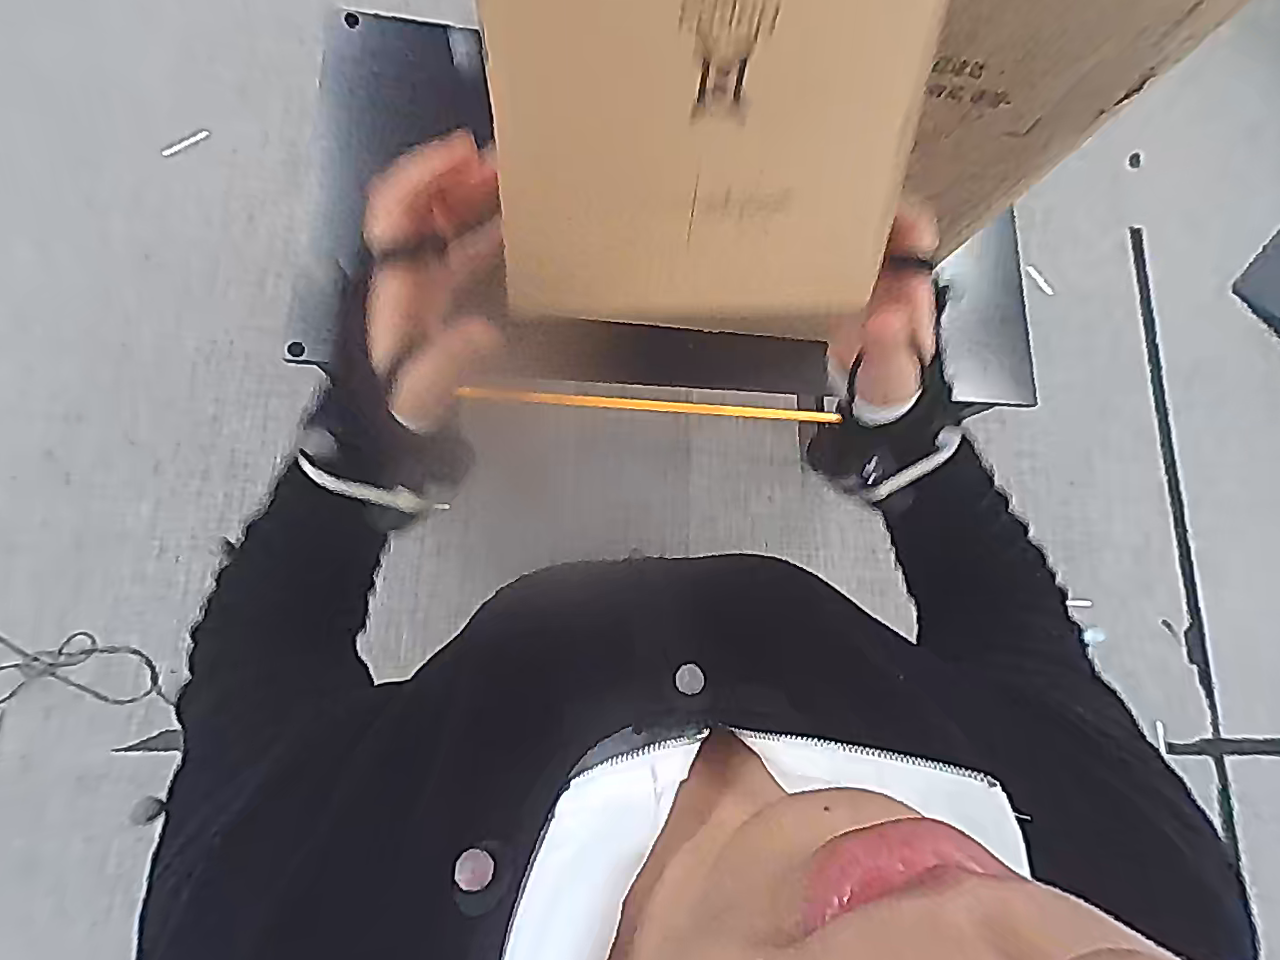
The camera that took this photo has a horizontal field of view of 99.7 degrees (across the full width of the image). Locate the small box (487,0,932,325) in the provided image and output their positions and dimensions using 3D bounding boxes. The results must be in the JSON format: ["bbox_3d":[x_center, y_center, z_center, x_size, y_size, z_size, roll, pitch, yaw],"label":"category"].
[{"bbox_3d":[0.013,-0.188,0.271,0.168,0.176,0.179,-4,122,-8],"label":"small box"}]
